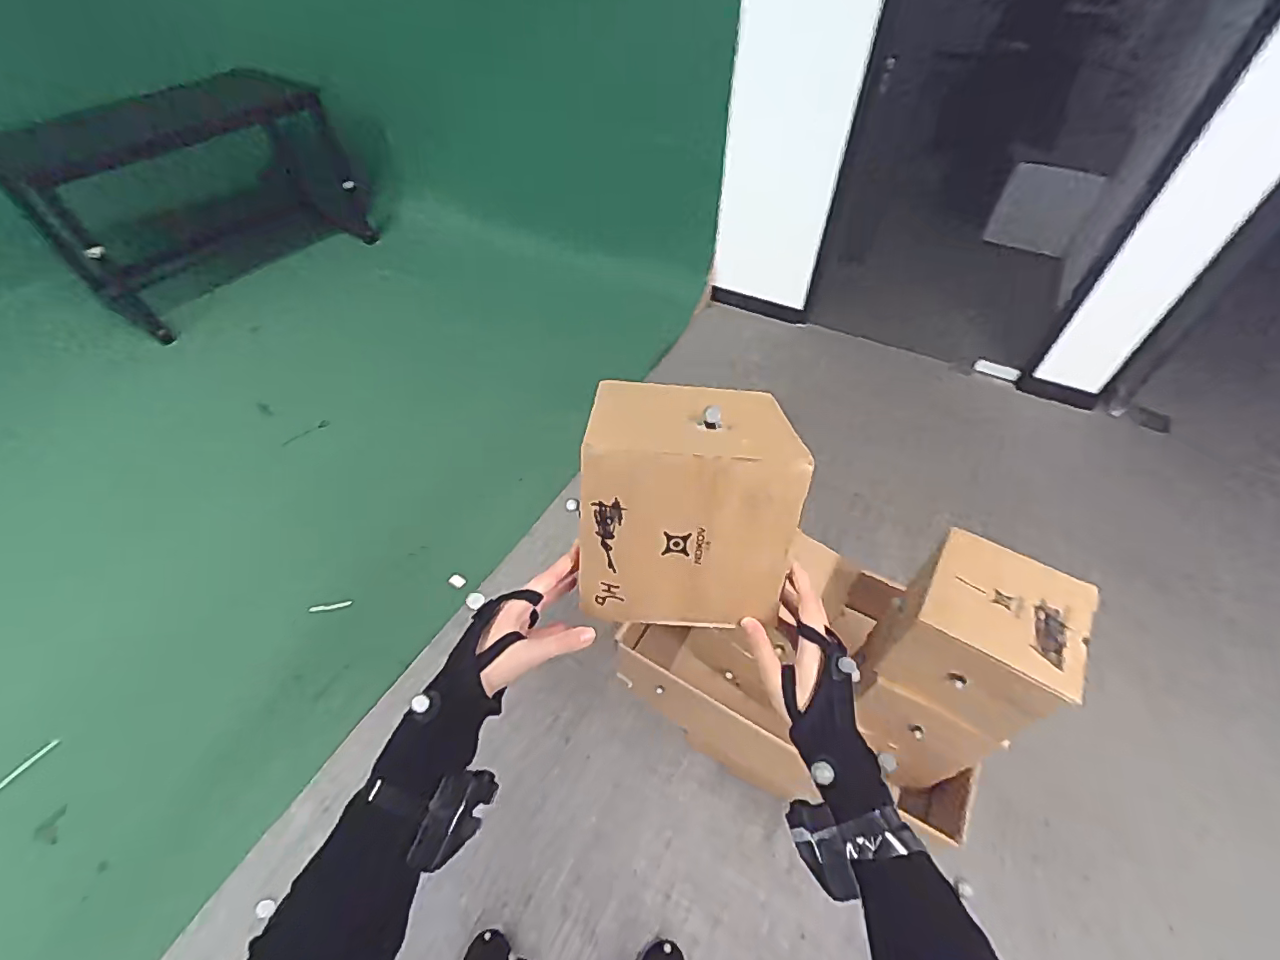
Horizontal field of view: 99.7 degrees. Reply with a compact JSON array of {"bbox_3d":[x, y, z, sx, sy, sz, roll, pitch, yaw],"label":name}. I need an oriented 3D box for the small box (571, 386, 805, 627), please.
[{"bbox_3d":[0.031,0.016,0.507,0.179,0.168,0.176,3,25,-2],"label":"small box"}]

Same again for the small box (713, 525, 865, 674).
[{"bbox_3d":[0.243,0.203,0.921,0.179,0.176,0.168,32,56,21],"label":"small box"}]

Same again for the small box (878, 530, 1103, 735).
[{"bbox_3d":[0.444,0.204,0.705,0.179,0.176,0.168,27,55,22],"label":"small box"}]
